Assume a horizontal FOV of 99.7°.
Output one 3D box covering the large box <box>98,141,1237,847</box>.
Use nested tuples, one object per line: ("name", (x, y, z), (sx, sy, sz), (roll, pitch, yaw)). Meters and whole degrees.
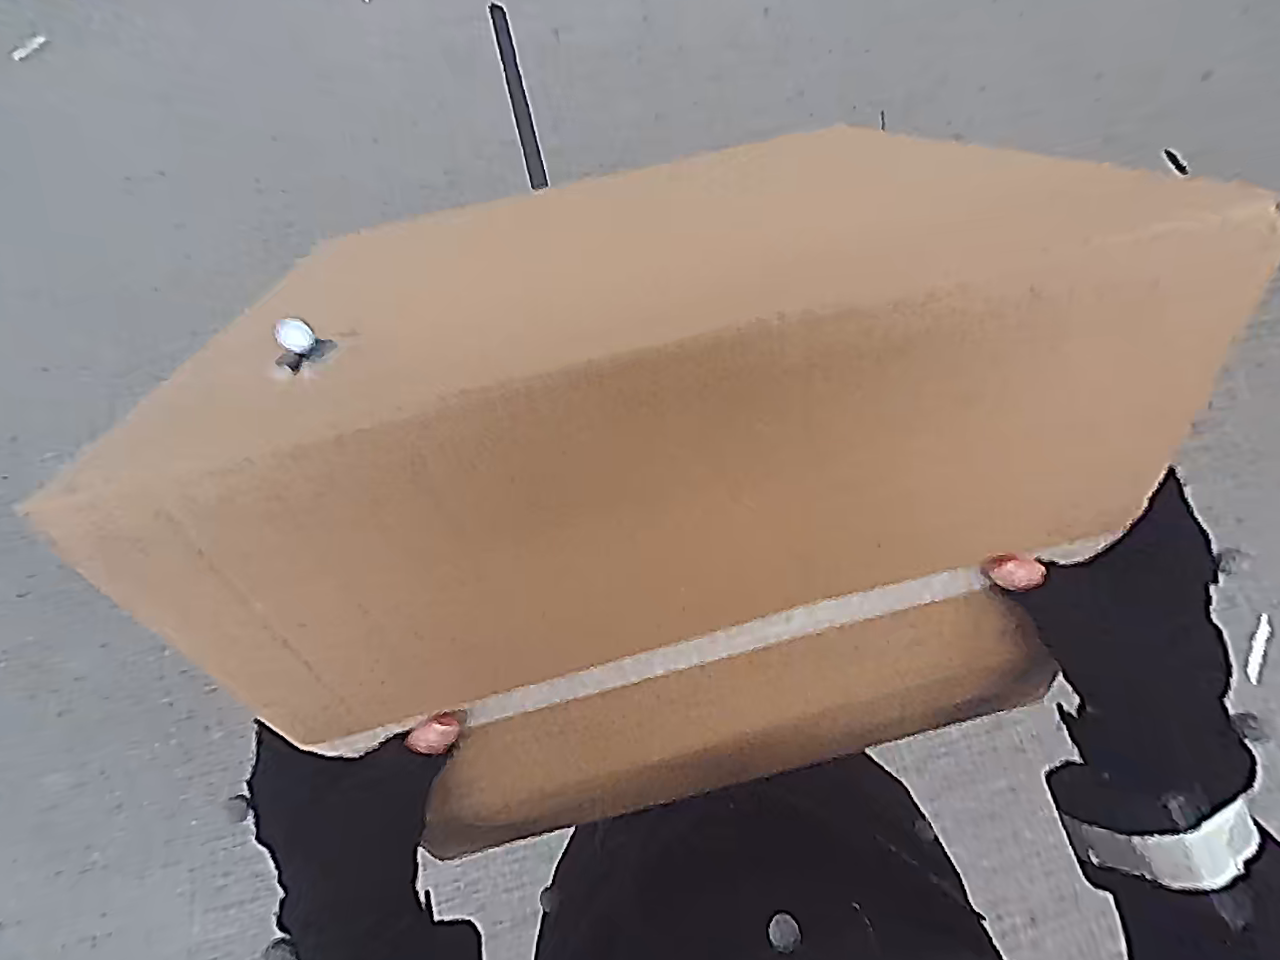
("large box", (0.013, -0.012, 0.386), (0.408, 0.320, 0.320), (-14, 39, -2))
